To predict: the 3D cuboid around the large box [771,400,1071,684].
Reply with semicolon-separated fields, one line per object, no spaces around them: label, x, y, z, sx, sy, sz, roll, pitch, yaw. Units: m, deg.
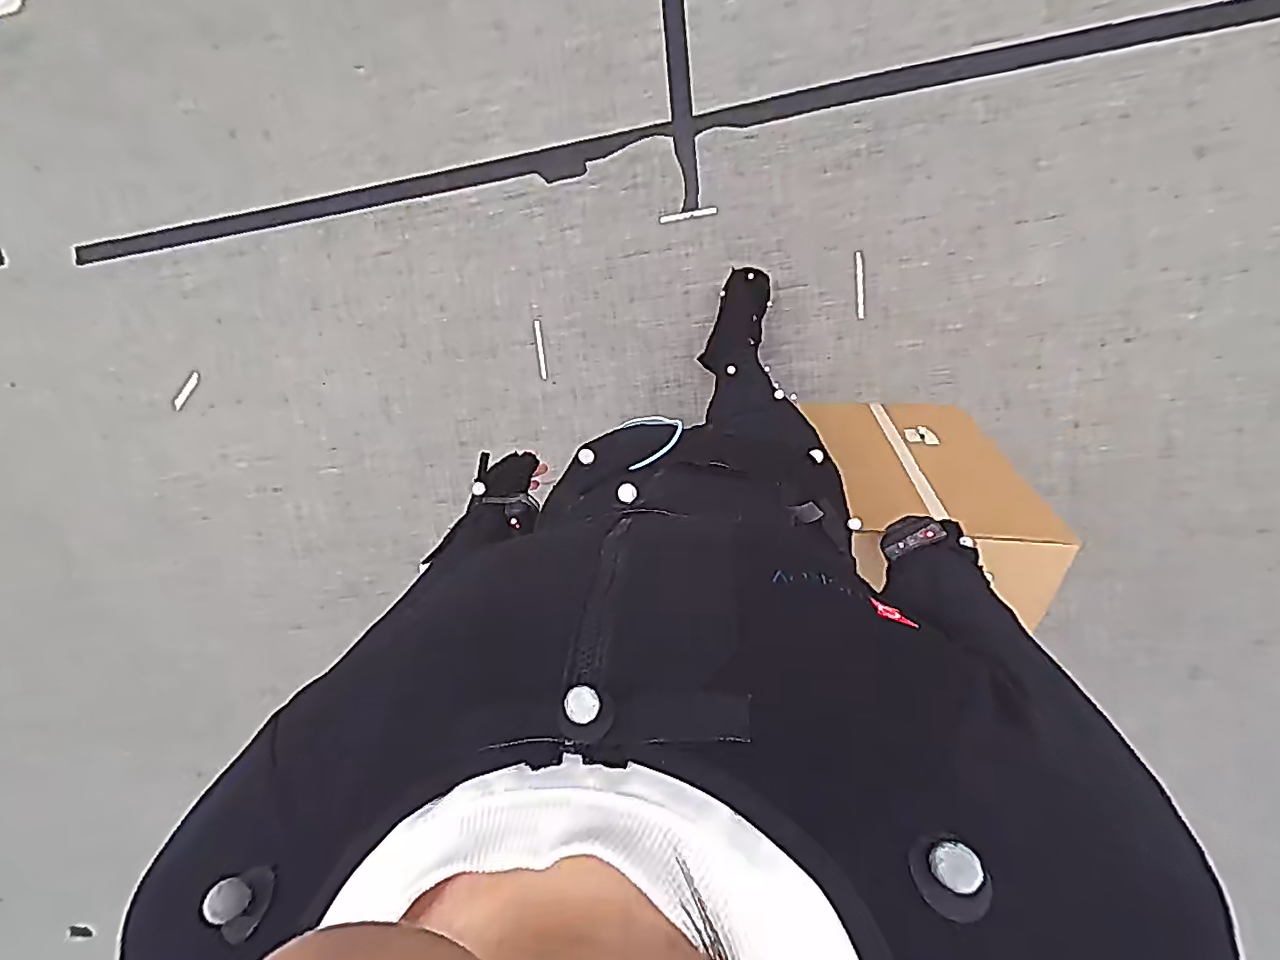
large box;0.415;0.087;0.936;0.320;0.408;0.320;3;122;5
